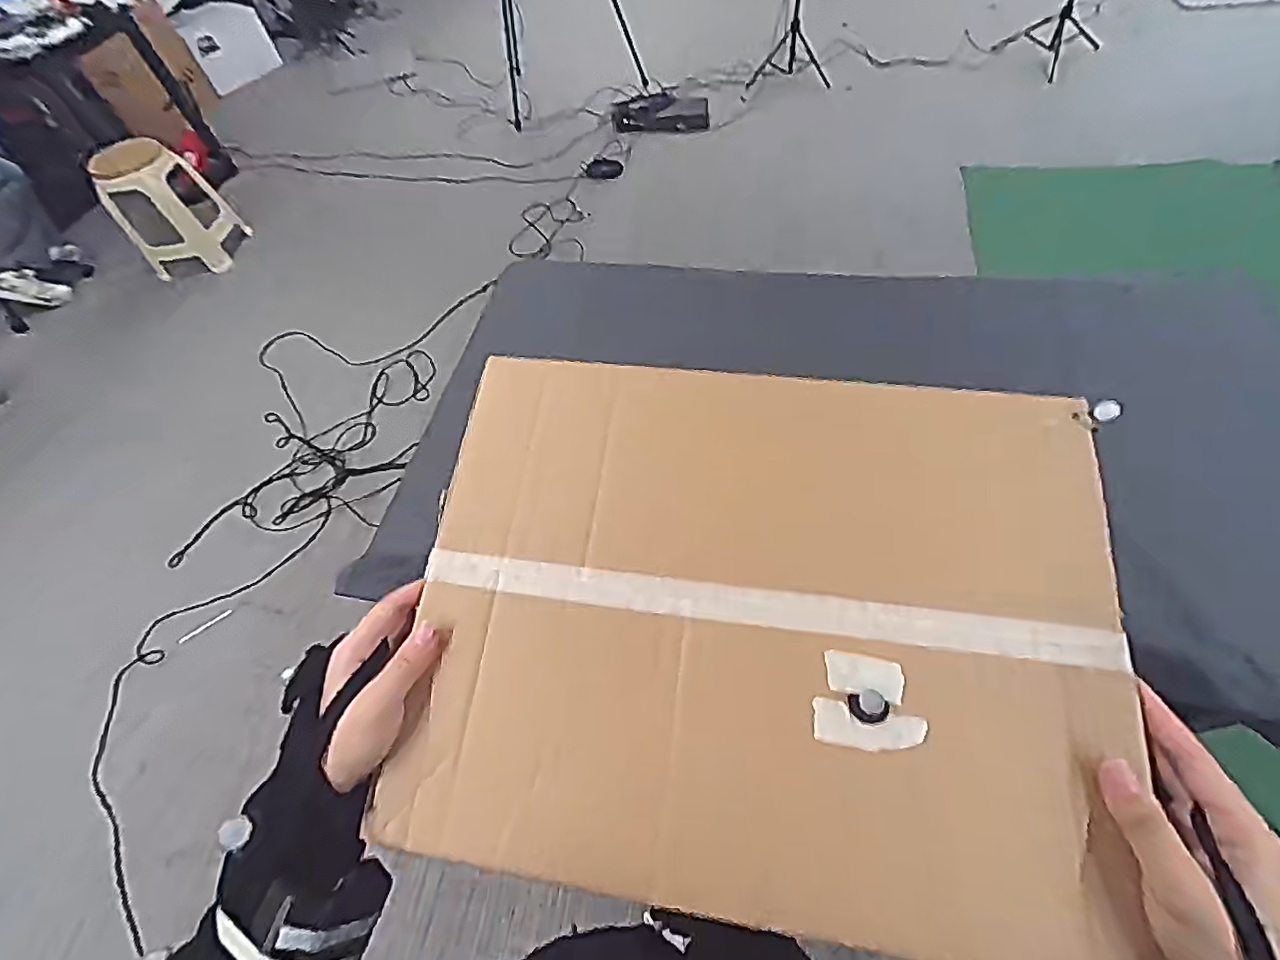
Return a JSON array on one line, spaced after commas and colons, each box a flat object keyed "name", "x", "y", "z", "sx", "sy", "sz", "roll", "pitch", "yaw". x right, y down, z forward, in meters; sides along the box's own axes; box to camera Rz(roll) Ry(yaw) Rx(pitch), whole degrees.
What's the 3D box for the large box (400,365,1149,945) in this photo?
[{"name": "large box", "x": 0.084, "y": 0.123, "z": 0.477, "sx": 0.408, "sy": 0.320, "sz": 0.320, "roll": 6, "pitch": 71, "yaw": 7}]
